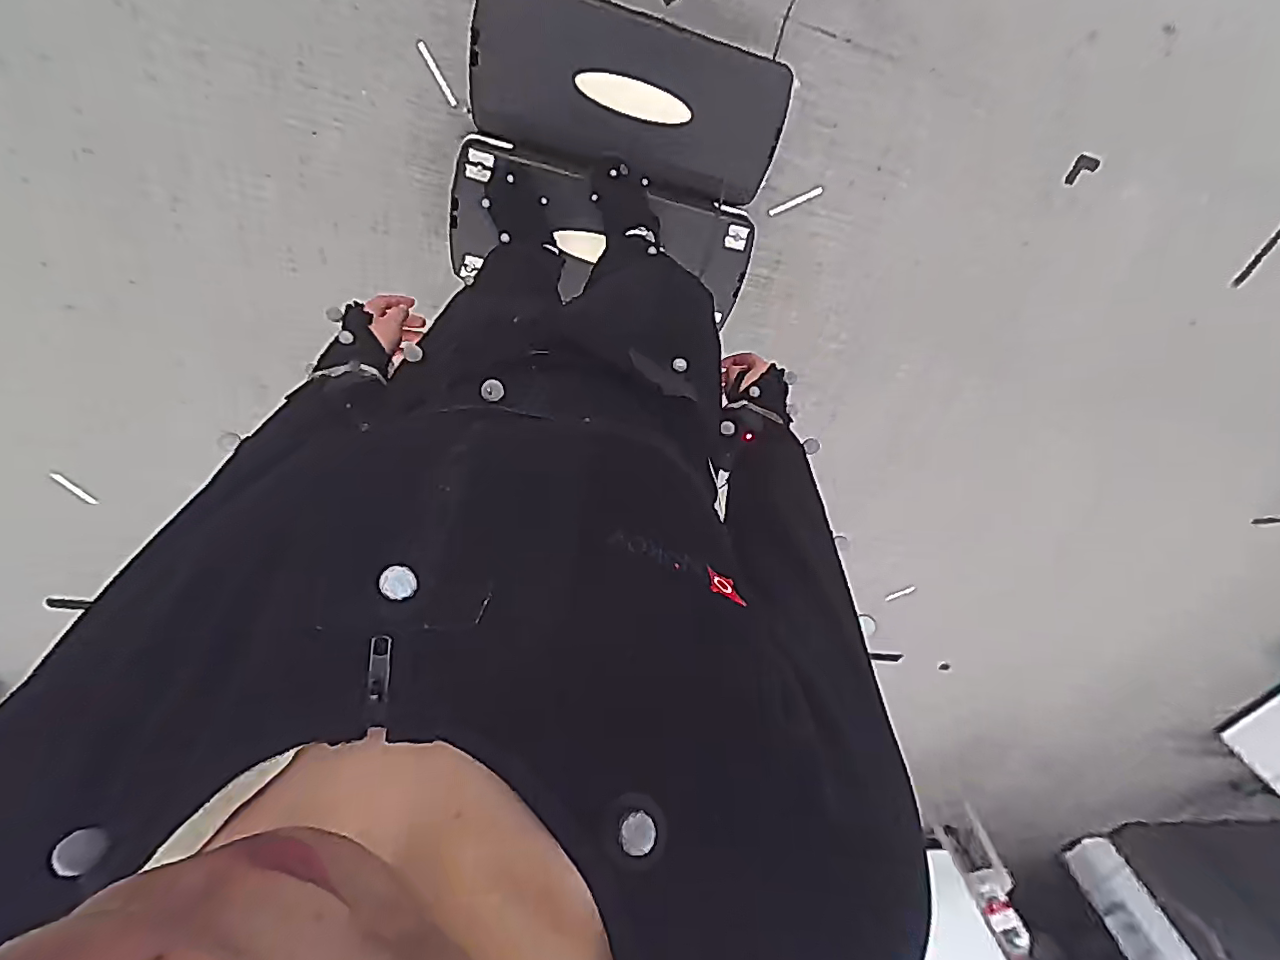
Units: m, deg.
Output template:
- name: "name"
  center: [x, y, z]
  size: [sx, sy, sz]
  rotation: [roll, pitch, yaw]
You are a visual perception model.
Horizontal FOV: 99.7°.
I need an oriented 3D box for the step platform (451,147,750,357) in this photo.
- name: "step platform"
  center: [-0.088, -0.525, 1.289]
  size: [0.684, 0.204, 0.286]
  rotation: [13, 121, -14]
